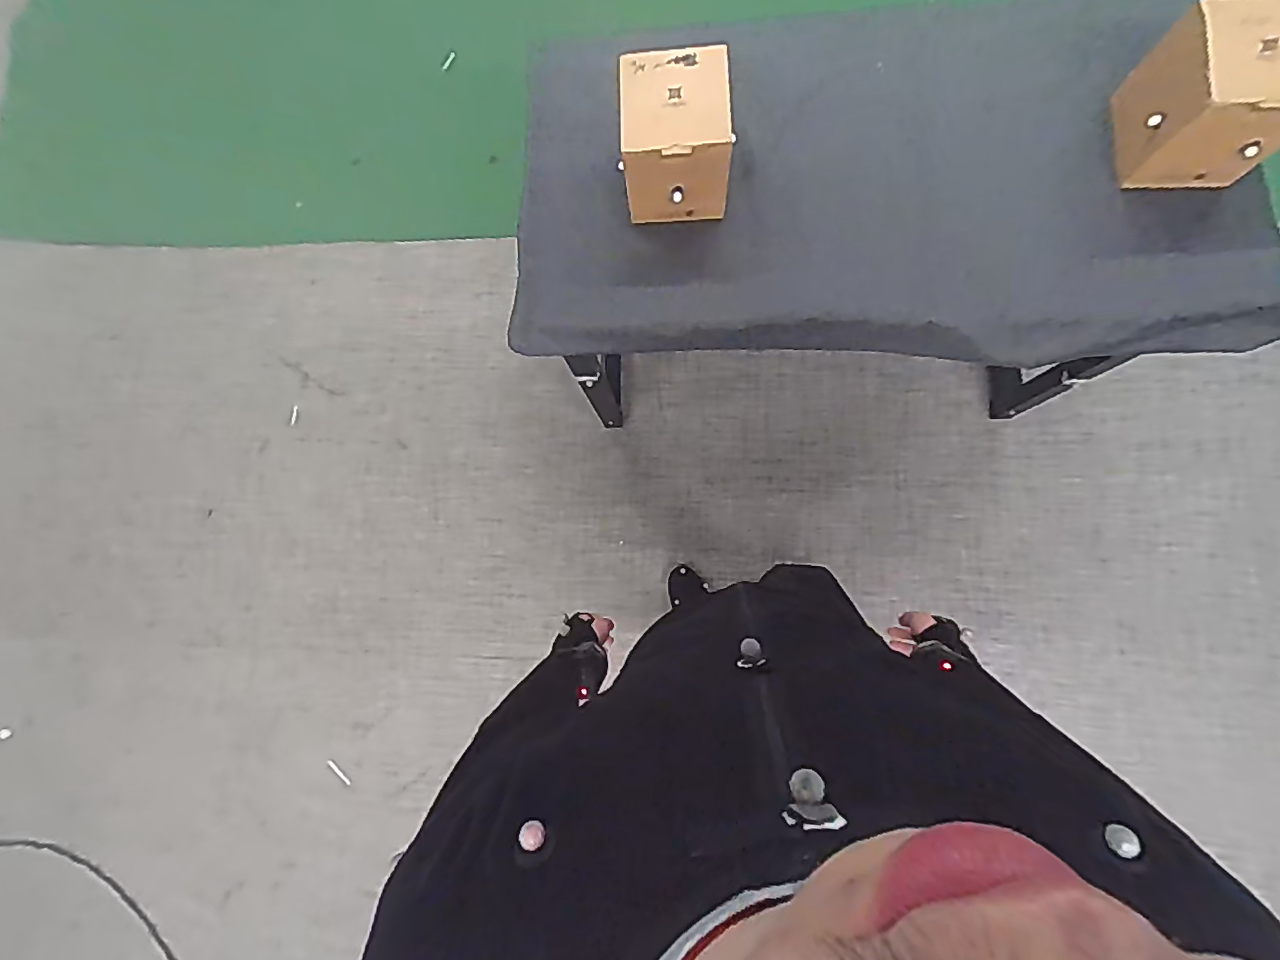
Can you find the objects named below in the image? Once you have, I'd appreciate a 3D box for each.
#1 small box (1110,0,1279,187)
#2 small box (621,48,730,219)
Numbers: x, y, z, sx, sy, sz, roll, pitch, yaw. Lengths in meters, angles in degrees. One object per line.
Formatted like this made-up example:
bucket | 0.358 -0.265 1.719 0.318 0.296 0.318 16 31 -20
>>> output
small box | 0.864 -0.572 0.816 0.168 0.176 0.179 3 79 5
small box | 0.059 -0.552 0.888 0.168 0.176 0.179 -2 80 4
